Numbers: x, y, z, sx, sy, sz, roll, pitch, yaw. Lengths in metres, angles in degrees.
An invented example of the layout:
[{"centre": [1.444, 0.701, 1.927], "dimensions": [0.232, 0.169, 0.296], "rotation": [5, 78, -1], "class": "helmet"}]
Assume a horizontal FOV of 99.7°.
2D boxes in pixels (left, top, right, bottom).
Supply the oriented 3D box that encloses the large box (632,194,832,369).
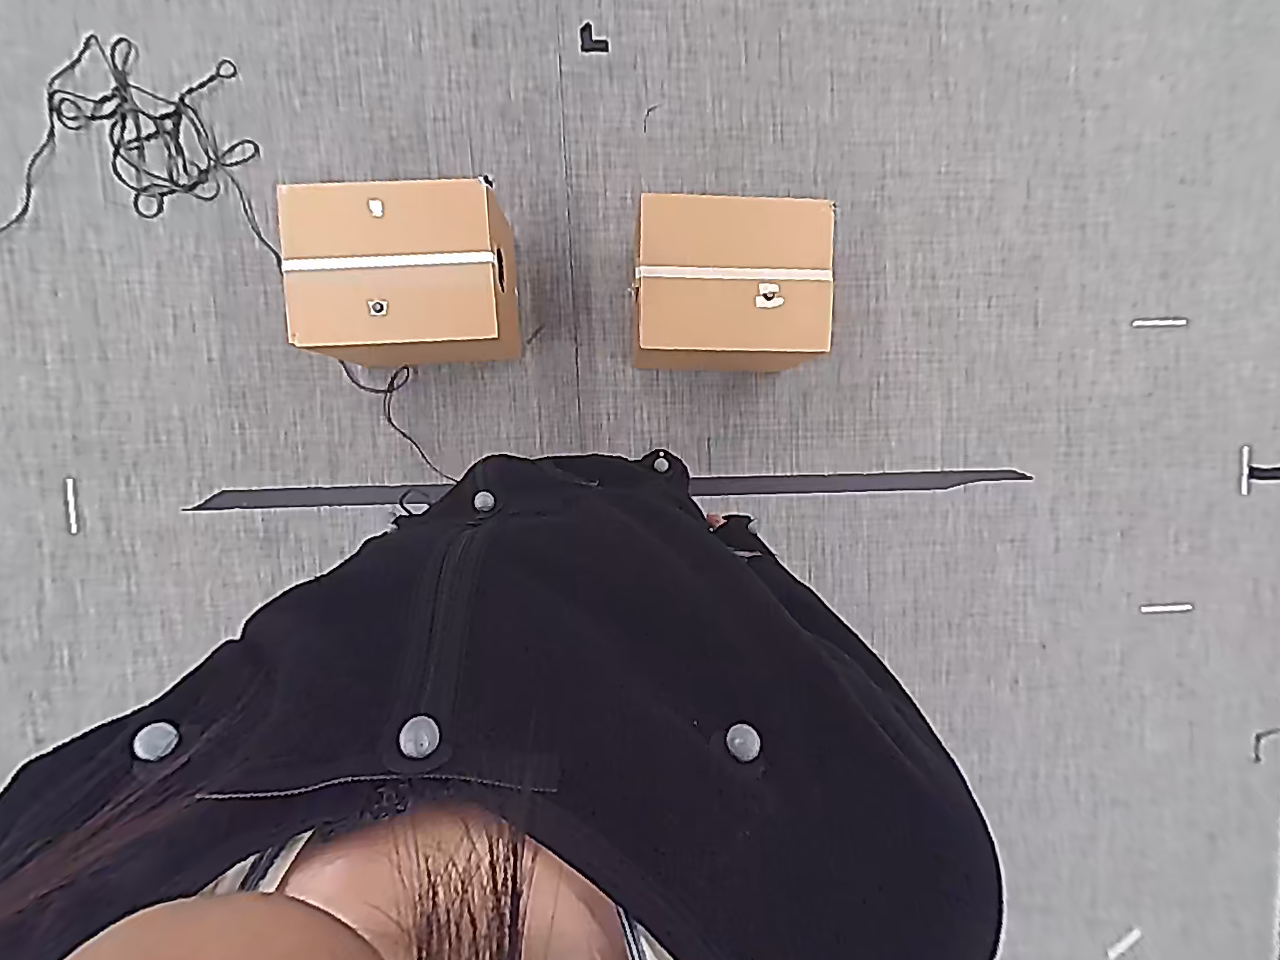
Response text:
[{"centre": [0.190, -0.437, 1.269], "dimensions": [0.408, 0.320, 0.320], "rotation": [0, 94, -5], "class": "large box"}]
